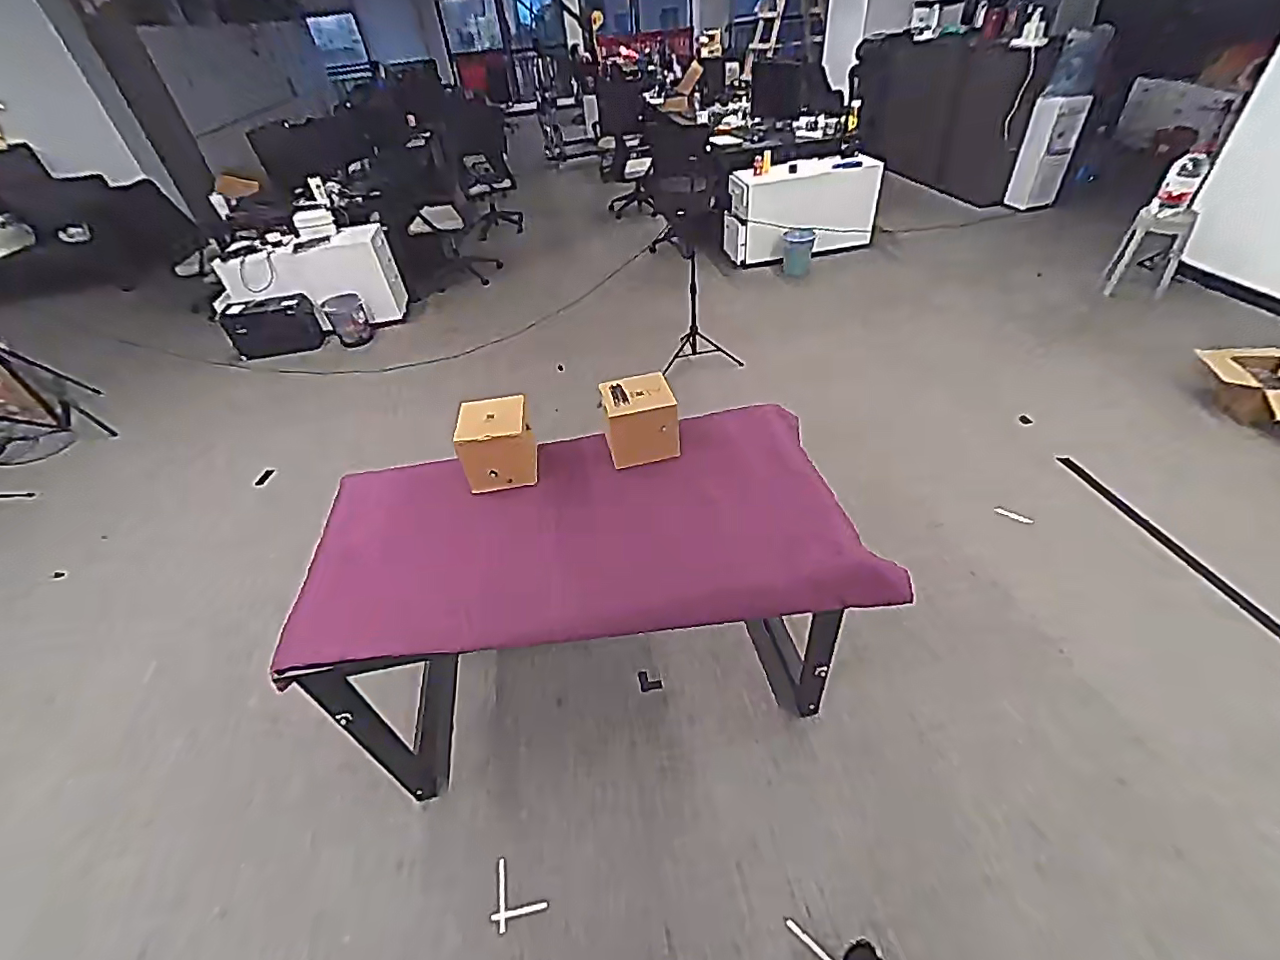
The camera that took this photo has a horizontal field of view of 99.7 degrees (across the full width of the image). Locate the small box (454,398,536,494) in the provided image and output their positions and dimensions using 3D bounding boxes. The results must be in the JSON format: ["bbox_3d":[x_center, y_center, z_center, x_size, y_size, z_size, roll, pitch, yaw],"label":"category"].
[{"bbox_3d":[-0.367,-0.088,1.401,0.168,0.176,0.179,-9,42,-3],"label":"small box"}]
